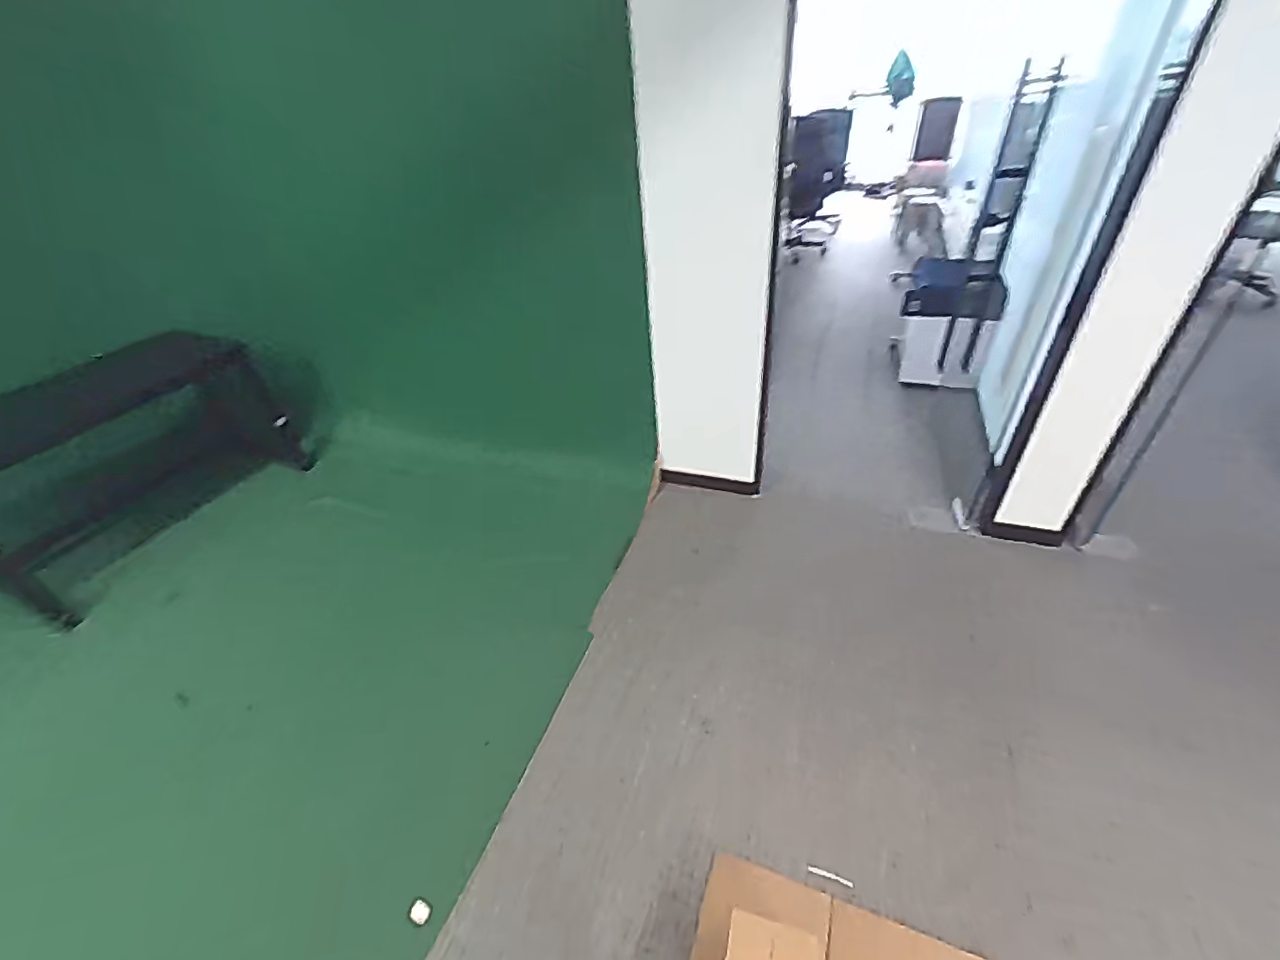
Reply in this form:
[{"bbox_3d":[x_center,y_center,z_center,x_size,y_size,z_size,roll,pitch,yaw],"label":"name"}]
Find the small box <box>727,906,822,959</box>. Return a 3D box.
[{"bbox_3d":[0.244,0.956,1.017,0.168,0.176,0.179,8,39,17],"label":"small box"}]
